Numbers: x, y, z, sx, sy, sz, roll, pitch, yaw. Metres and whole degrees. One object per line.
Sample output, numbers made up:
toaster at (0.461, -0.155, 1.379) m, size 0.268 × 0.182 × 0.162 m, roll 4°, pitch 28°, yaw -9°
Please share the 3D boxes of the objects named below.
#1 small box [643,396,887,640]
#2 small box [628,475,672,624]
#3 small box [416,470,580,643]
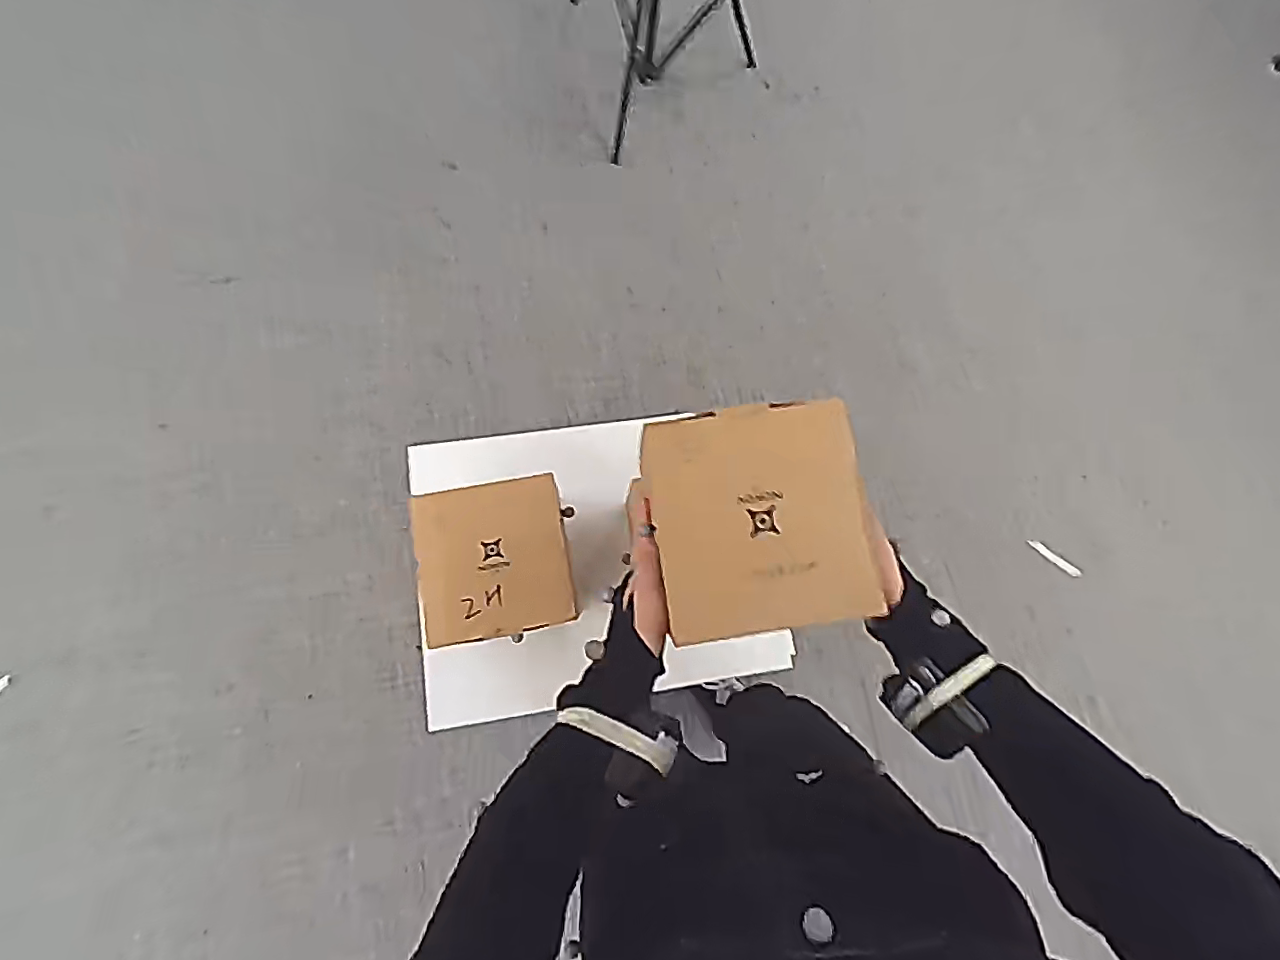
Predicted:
small box at (0.094, 0.038, 0.496) m, size 0.168 × 0.176 × 0.179 m, roll -7°, pitch 82°, yaw -2°
small box at (0.077, 0.085, 0.714) m, size 0.168 × 0.176 × 0.179 m, roll -6°, pitch 80°, yaw -6°
small box at (-0.171, 0.100, 0.690) m, size 0.168 × 0.176 × 0.179 m, roll -10°, pitch 79°, yaw -7°
